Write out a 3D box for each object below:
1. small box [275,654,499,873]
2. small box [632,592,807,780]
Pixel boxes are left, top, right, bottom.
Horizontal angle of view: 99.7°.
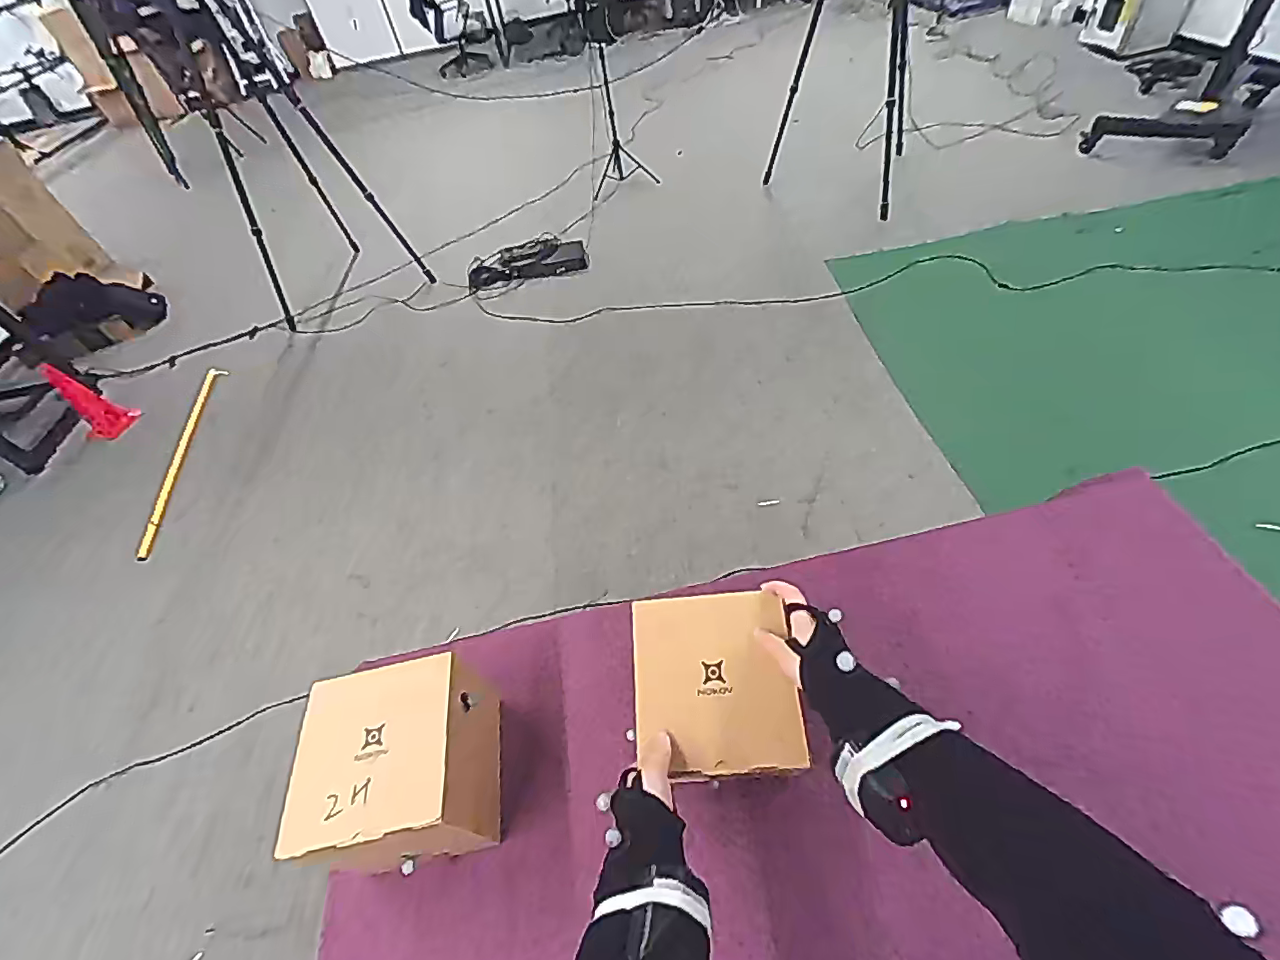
[{"bbox_3d":[-0.273,0.333,0.632,0.168,0.176,0.179,-13,49,0],"label":"small box"},{"bbox_3d":[0.084,0.243,0.623,0.168,0.176,0.179,-6,61,6],"label":"small box"}]
